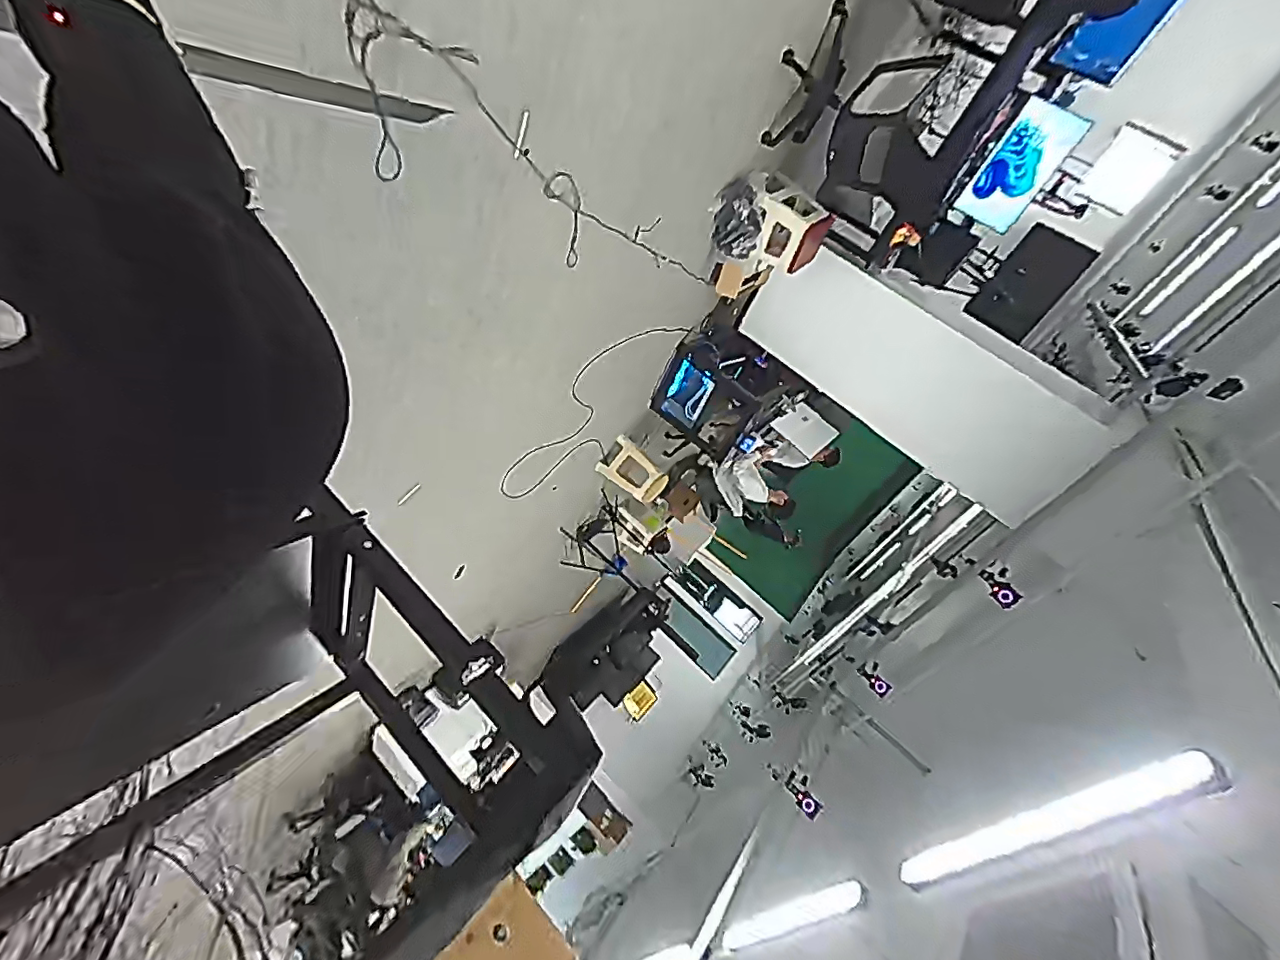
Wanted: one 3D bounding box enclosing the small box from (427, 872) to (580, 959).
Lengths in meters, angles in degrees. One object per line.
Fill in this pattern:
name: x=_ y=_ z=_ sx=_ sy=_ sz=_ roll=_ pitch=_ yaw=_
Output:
small box: x=-0.232 y=0.782 z=0.873 sx=0.168 sy=0.176 sz=0.179 roll=-29 pitch=156 yaw=-47
